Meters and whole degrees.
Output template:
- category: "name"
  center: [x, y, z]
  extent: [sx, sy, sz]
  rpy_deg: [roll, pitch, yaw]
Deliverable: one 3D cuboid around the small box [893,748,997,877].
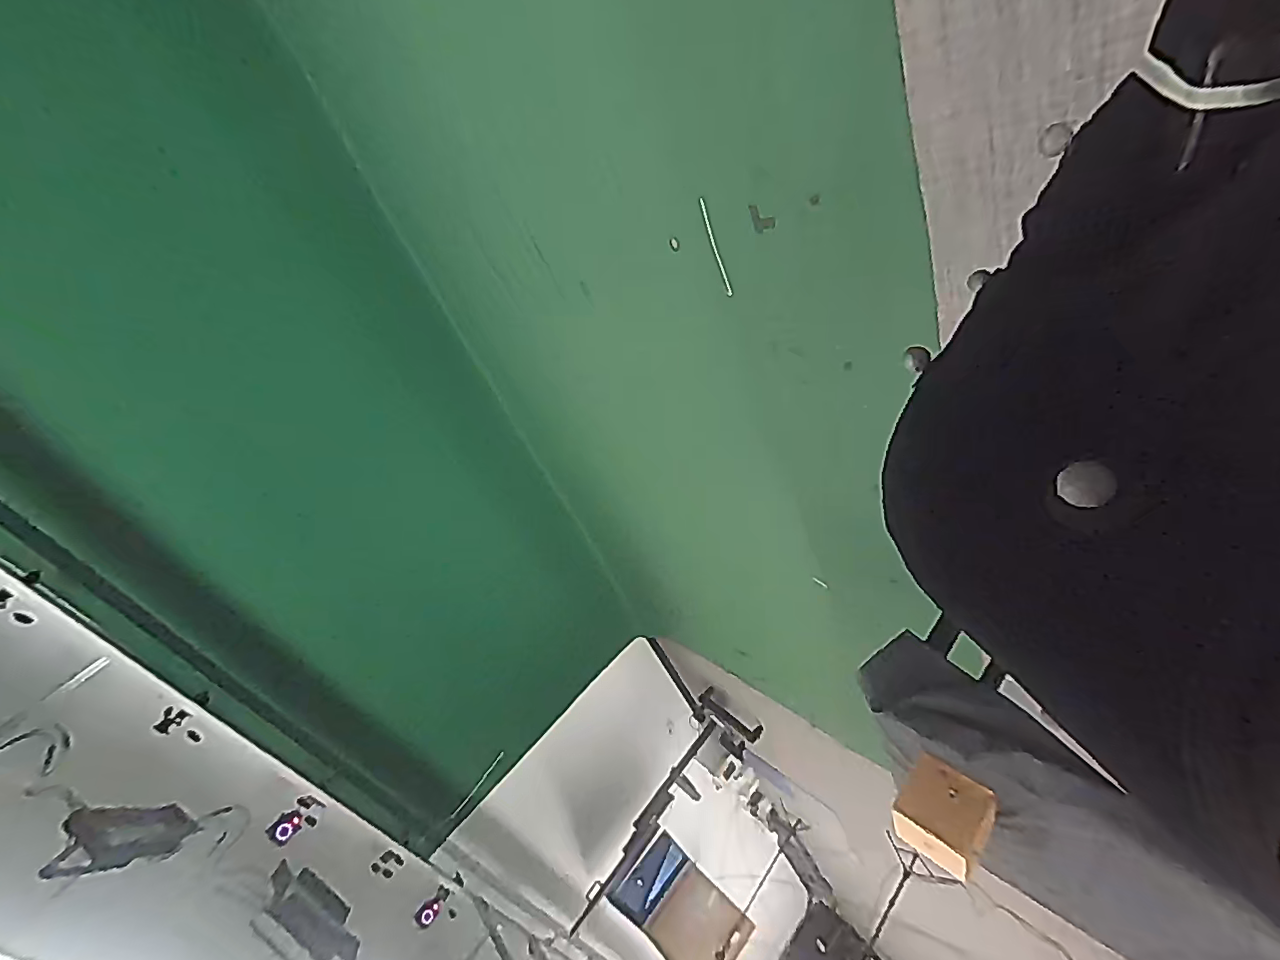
- category: "small box"
  center: [0.735, 0.793, 1.301]
  extent: [0.168, 0.176, 0.179]
  rpy_deg: [19, 144, 46]
